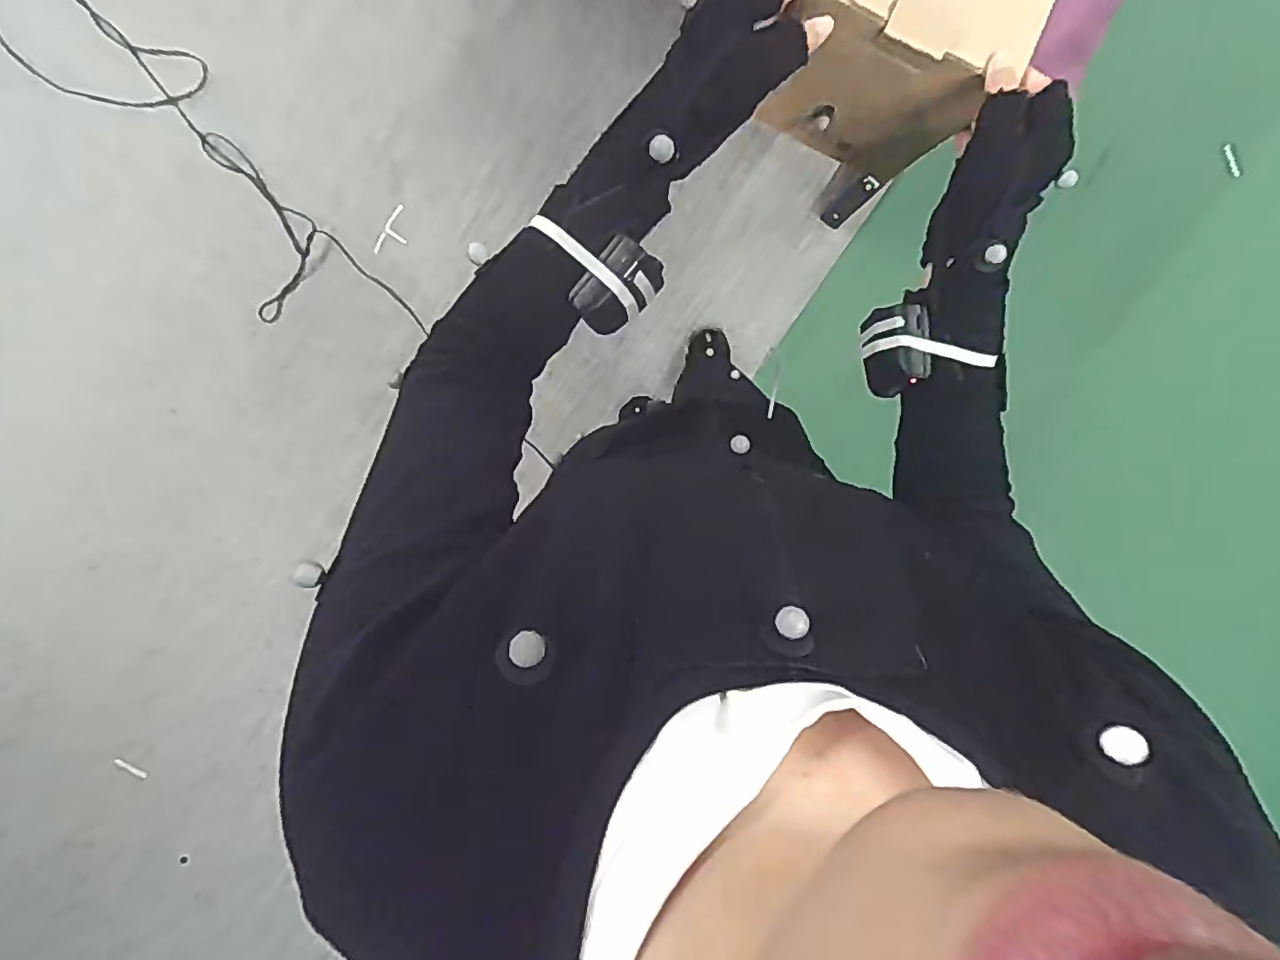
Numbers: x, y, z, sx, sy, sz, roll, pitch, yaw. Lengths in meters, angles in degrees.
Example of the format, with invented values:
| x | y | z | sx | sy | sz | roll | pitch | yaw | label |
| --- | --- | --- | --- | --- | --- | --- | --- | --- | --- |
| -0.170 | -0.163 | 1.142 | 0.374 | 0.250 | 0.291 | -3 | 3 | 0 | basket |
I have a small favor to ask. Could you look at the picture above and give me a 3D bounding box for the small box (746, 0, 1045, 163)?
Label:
| x | y | z | sx | sy | sz | roll | pitch | yaw | label |
| --- | --- | --- | --- | --- | --- | --- | --- | --- | --- |
| 0.204 | -0.400 | 0.432 | 0.168 | 0.176 | 0.179 | 19 | 98 | -9 | small box |
